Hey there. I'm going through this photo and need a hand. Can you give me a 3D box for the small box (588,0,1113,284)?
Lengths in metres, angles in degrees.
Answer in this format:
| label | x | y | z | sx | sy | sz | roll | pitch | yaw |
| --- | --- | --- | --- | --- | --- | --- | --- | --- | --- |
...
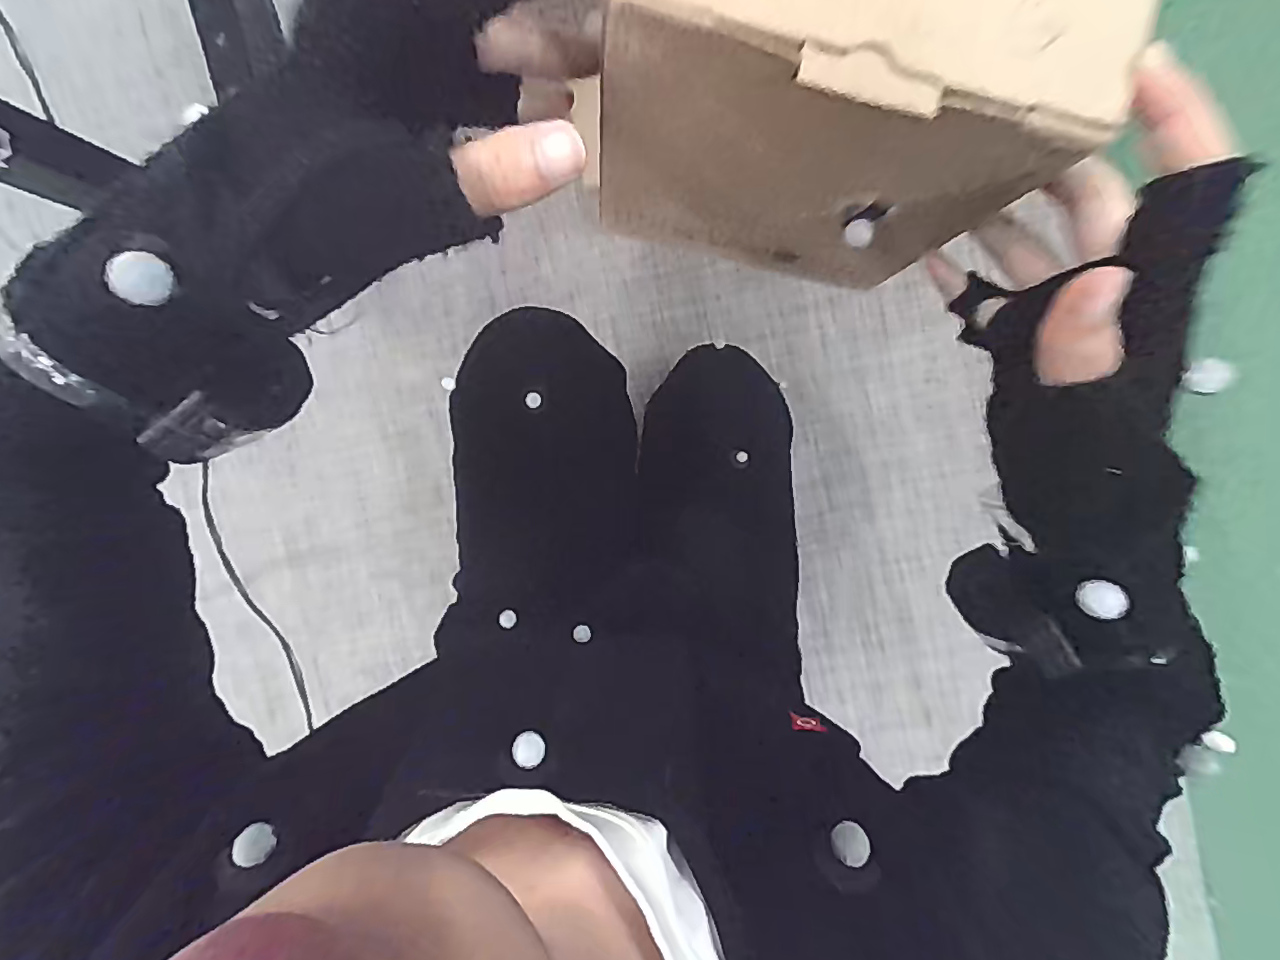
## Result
| label | x | y | z | sx | sy | sz | roll | pitch | yaw |
| --- | --- | --- | --- | --- | --- | --- | --- | --- | --- |
| small box | 0.076 | -0.212 | 0.249 | 0.168 | 0.176 | 0.179 | 12 | 92 | -5 |
